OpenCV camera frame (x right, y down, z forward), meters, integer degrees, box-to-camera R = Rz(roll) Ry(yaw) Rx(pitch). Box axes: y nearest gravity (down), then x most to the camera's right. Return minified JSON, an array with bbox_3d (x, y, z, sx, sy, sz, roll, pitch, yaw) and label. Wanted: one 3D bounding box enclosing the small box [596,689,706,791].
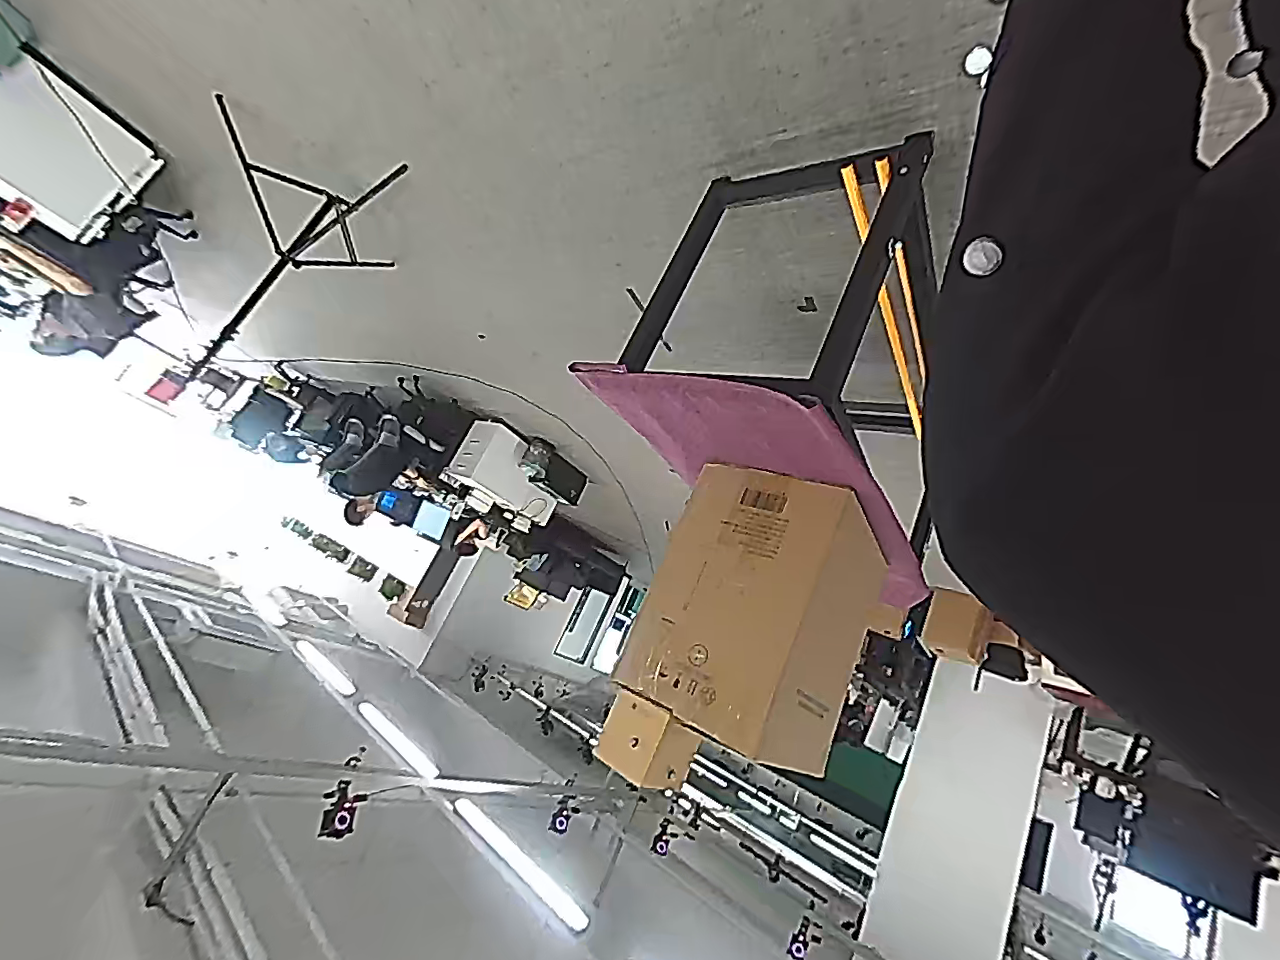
[{"bbox_3d":[0.032,0.626,1.314,0.168,0.176,0.179,11,160,44],"label":"small box"}]
